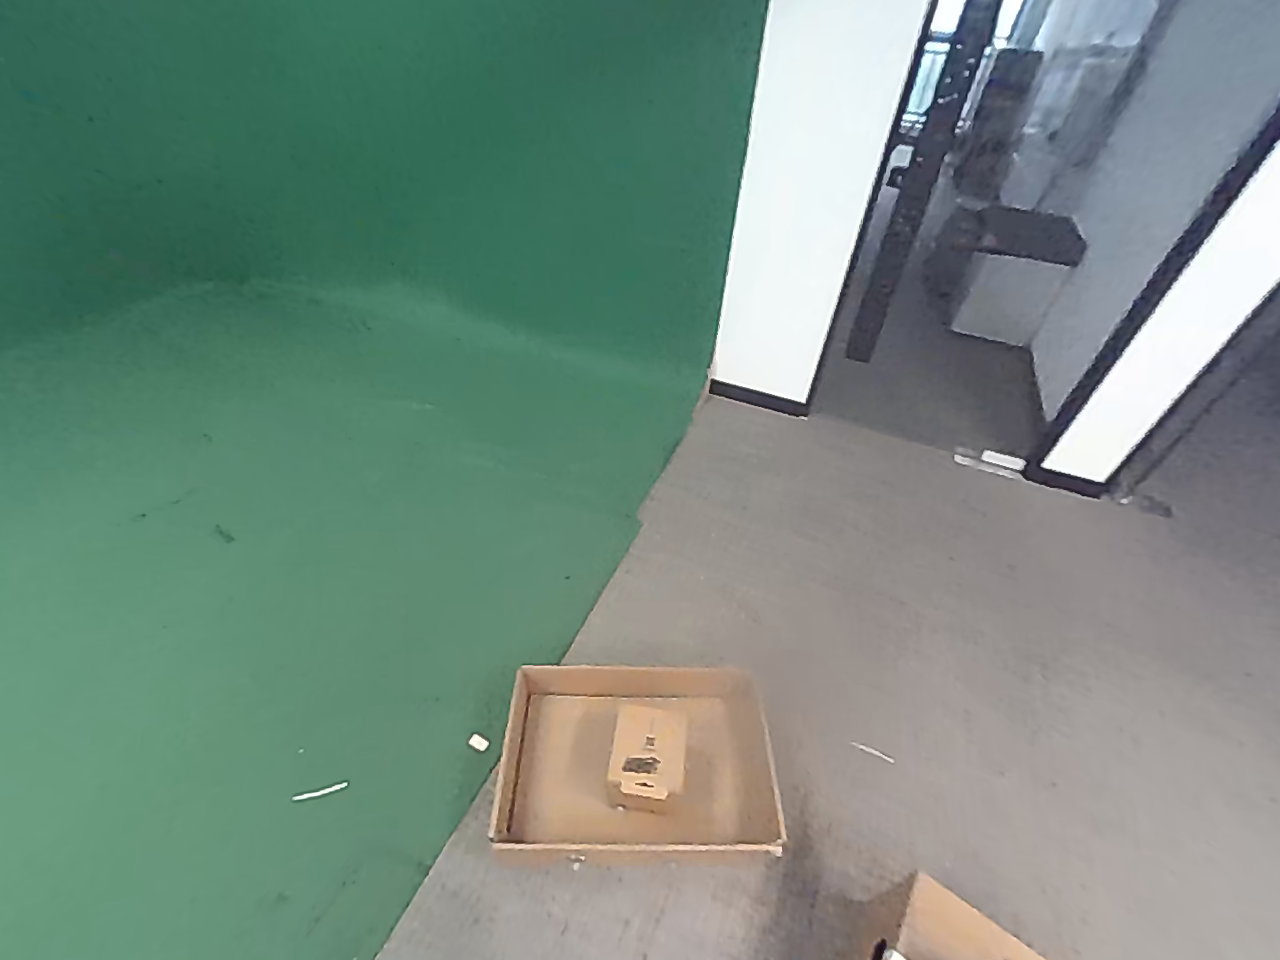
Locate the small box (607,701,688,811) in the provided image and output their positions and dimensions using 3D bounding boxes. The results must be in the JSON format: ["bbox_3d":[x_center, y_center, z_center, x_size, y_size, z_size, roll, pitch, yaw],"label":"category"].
[{"bbox_3d":[0.019,0.657,1.281,0.168,0.176,0.179,7,42,5],"label":"small box"}]
